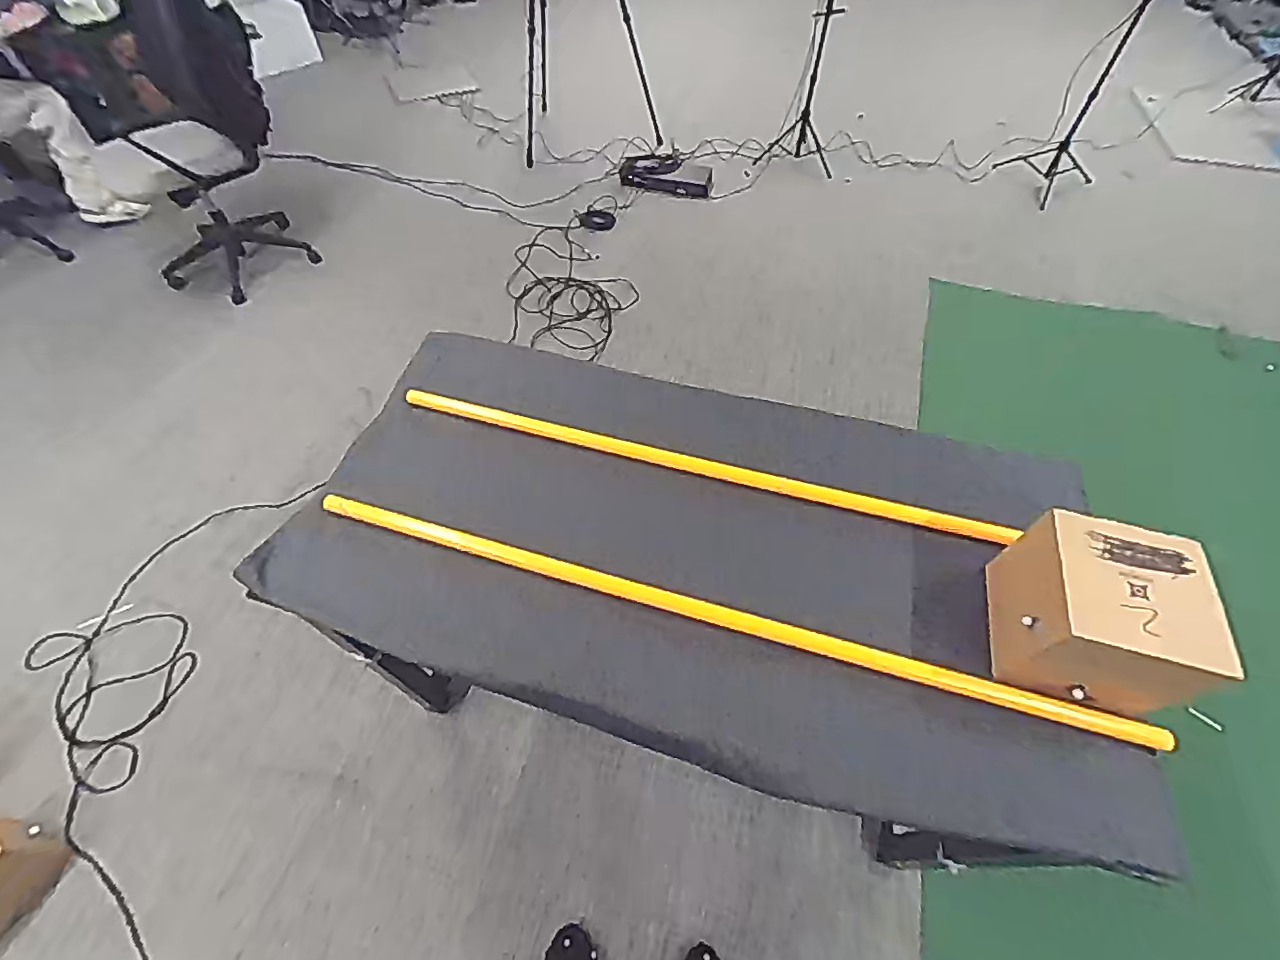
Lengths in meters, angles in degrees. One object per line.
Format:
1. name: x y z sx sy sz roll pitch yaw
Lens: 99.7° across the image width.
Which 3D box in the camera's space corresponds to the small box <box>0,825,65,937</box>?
1. small box: -1.375 0.835 1.108 0.168 0.176 0.179 18 55 13
